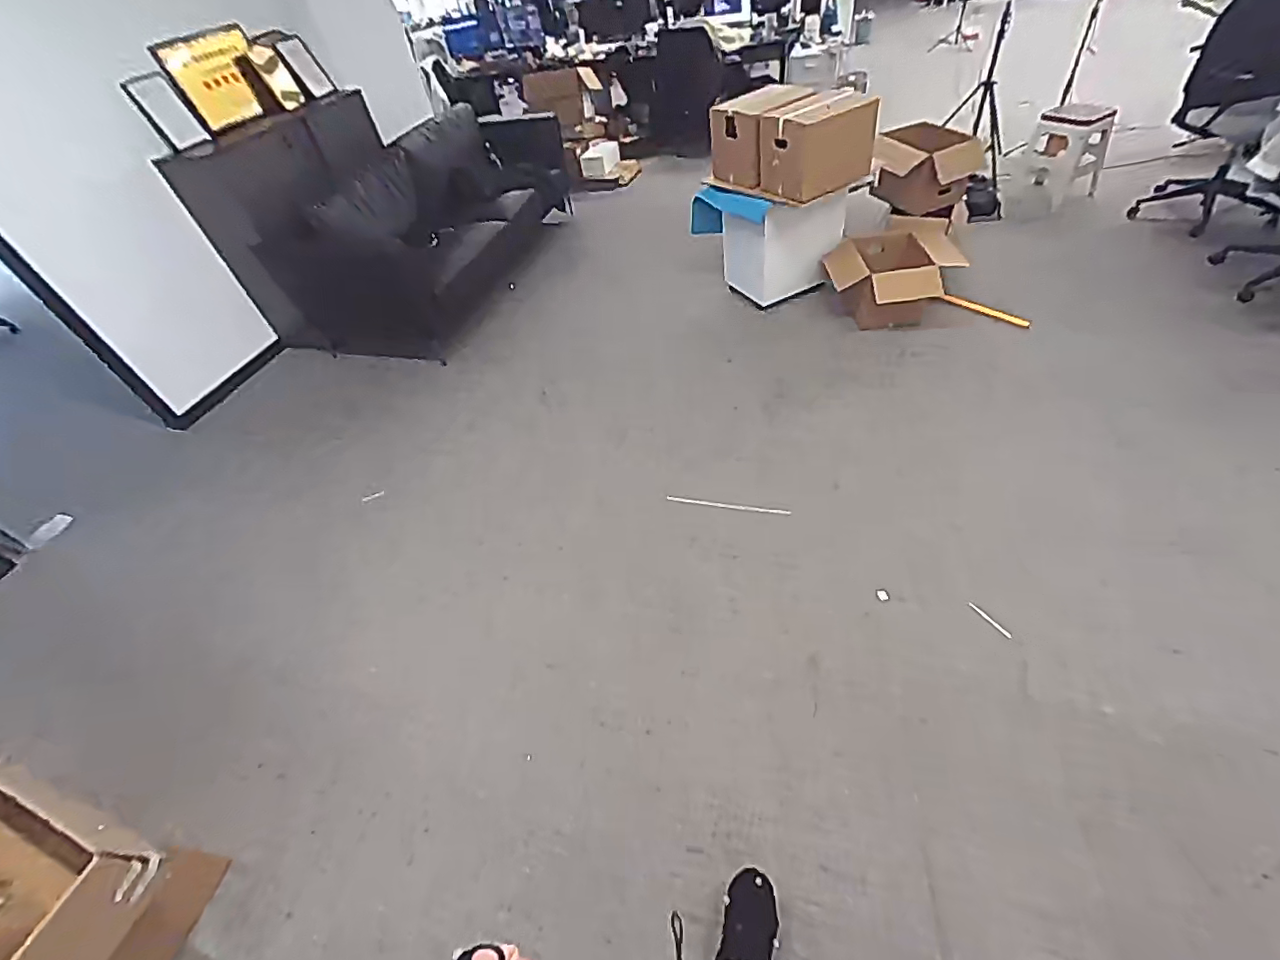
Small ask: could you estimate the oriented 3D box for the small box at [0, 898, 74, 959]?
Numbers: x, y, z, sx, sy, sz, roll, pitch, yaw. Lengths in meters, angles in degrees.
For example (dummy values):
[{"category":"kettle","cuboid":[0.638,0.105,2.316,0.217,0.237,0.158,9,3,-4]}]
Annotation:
[{"category":"small box","cuboid":[-1.198,0.873,0.967,0.179,0.176,0.168,9,48,21]}]
